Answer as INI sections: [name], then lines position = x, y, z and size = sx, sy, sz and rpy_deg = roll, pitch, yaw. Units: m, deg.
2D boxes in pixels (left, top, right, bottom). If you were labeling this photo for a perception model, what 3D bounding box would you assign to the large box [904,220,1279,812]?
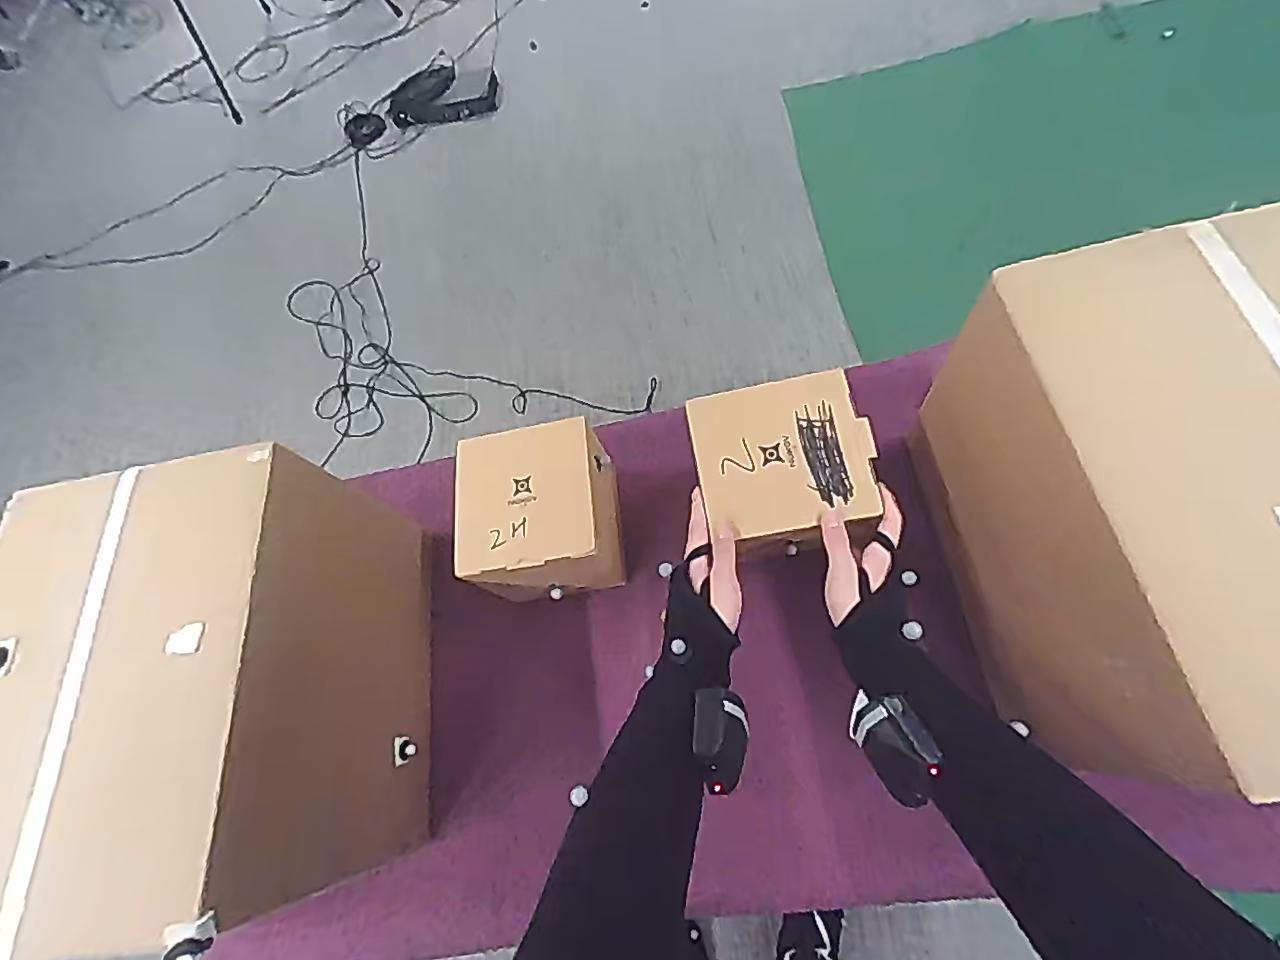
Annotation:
[large box]
position = 0.497, 0.037, 0.501
size = 0.320, 0.320, 0.408
rpy_deg = -10, 66, 8
